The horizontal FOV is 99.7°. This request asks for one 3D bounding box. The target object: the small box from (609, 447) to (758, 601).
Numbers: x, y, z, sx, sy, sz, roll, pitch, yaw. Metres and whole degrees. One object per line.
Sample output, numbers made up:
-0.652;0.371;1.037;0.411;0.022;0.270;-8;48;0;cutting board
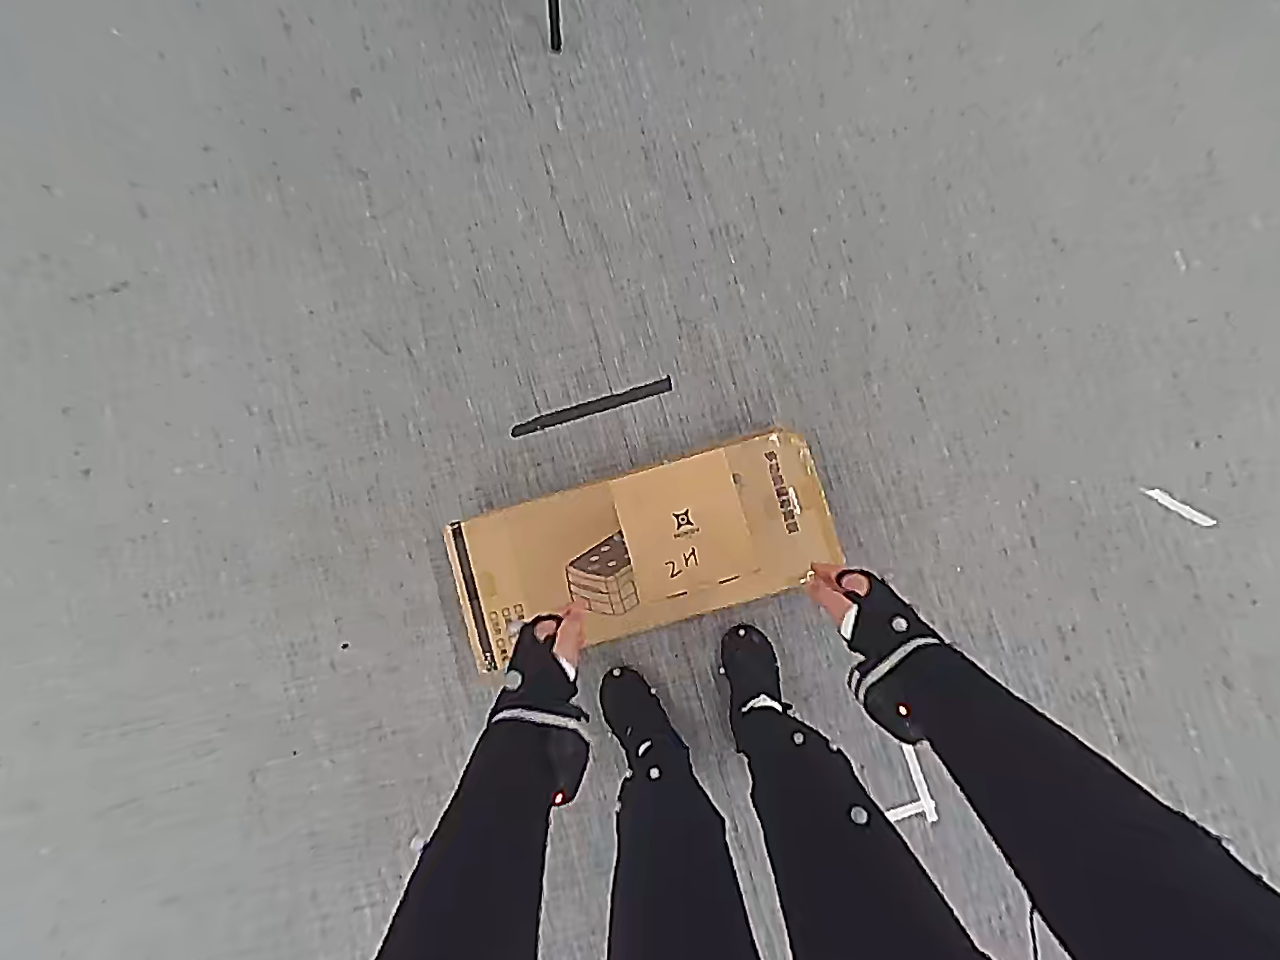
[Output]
0.058;0.065;0.805;0.168;0.176;0.179;-17;86;0;small box
